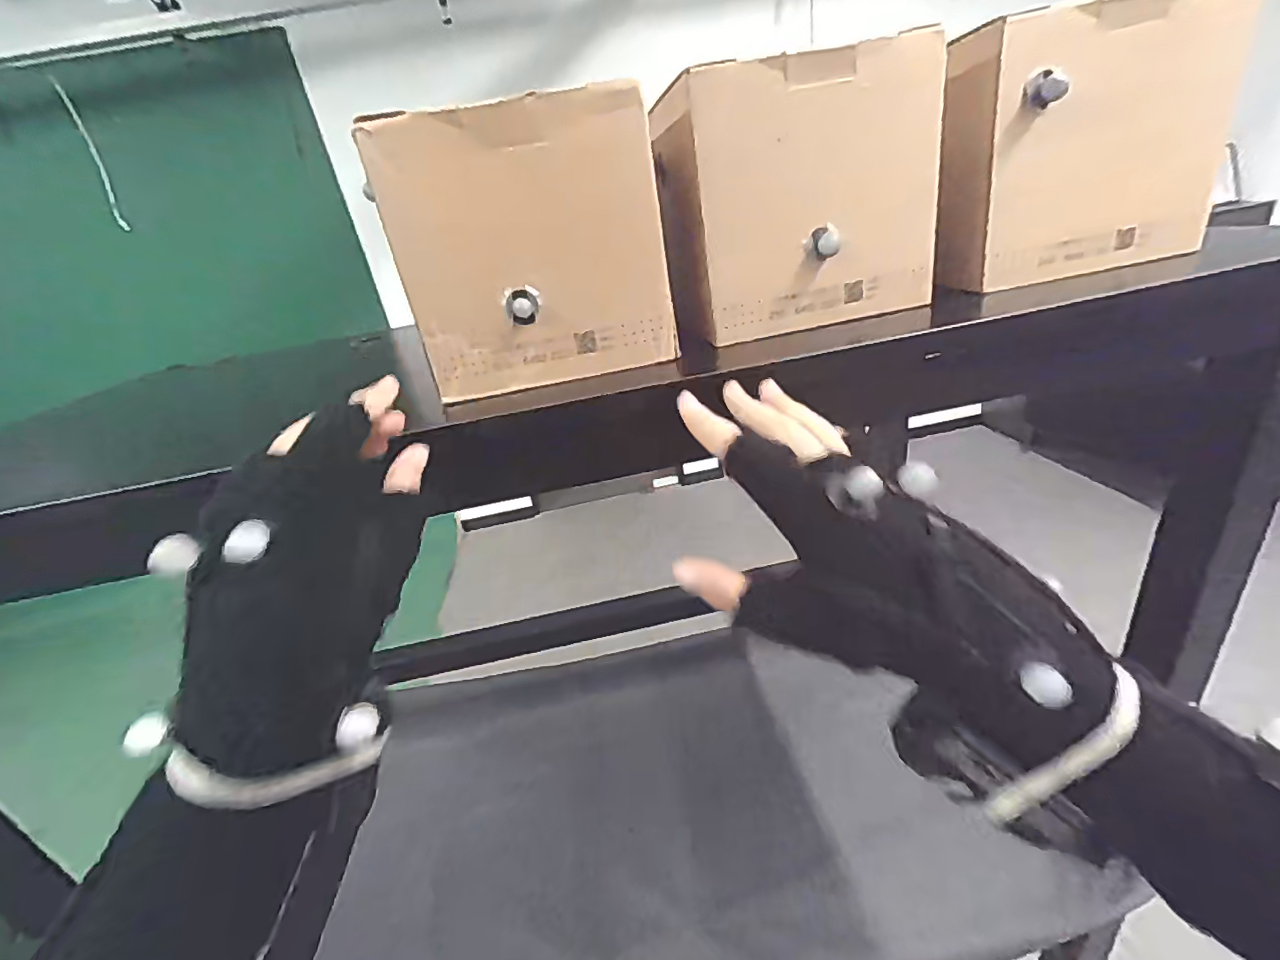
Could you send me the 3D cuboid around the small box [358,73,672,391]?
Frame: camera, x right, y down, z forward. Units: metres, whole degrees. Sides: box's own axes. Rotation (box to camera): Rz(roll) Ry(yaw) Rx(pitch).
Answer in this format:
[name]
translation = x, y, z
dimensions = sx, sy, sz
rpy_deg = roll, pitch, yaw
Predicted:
[small box]
translation = -0.077, -0.176, 0.411
dimensions = 0.168, 0.176, 0.179
rpy_deg = -11, 25, -4
